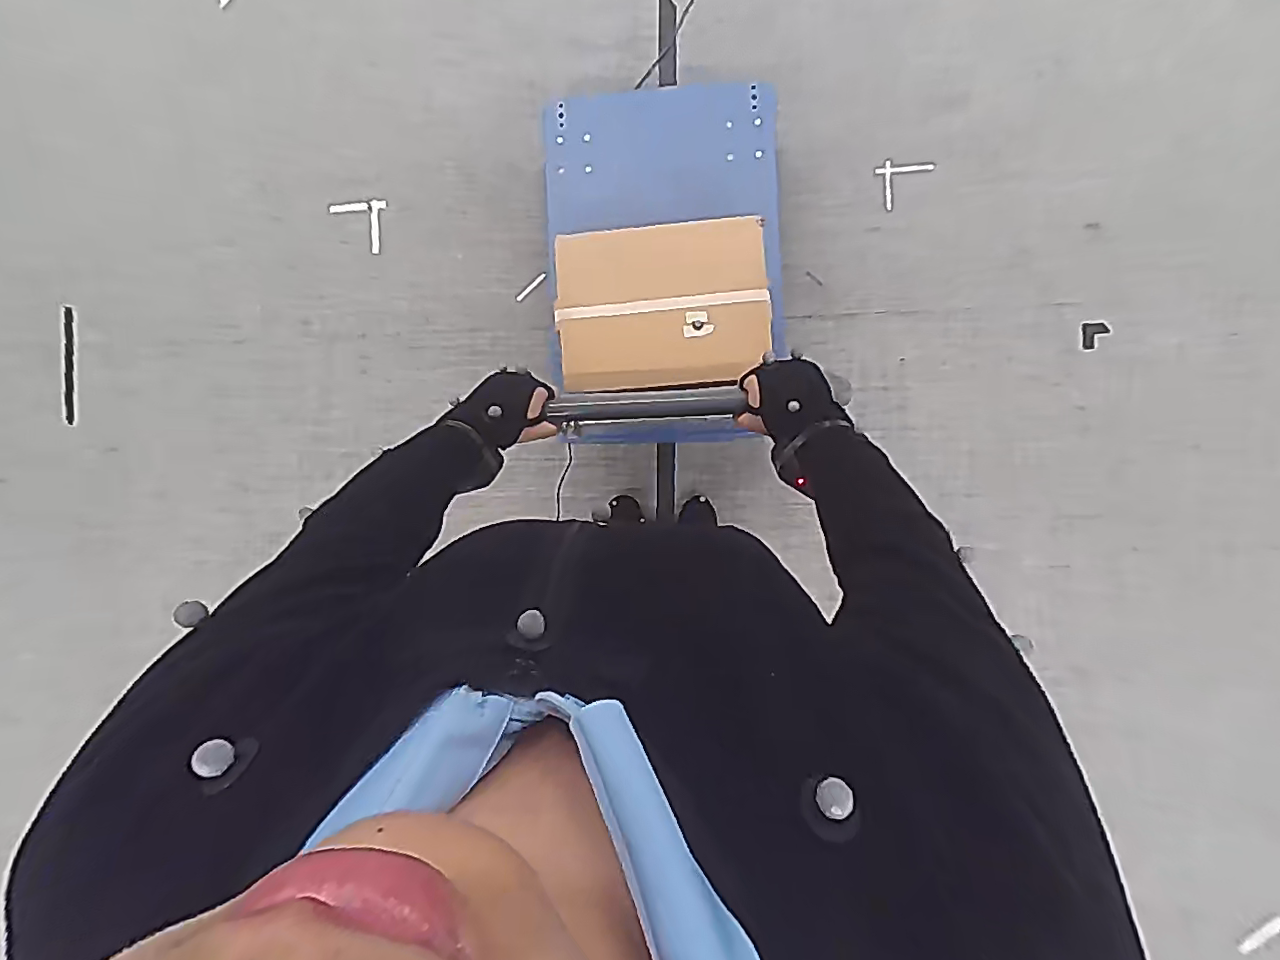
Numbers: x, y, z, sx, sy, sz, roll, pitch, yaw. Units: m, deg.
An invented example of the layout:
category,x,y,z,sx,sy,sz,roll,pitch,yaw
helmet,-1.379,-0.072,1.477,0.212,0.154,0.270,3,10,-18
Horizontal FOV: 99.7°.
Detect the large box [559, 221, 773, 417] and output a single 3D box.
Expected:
category,x,y,z,sx,sy,sz,roll,pitch,yaw
large box,0.057,-0.330,1.204,0.408,0.320,0.320,-4,89,4
